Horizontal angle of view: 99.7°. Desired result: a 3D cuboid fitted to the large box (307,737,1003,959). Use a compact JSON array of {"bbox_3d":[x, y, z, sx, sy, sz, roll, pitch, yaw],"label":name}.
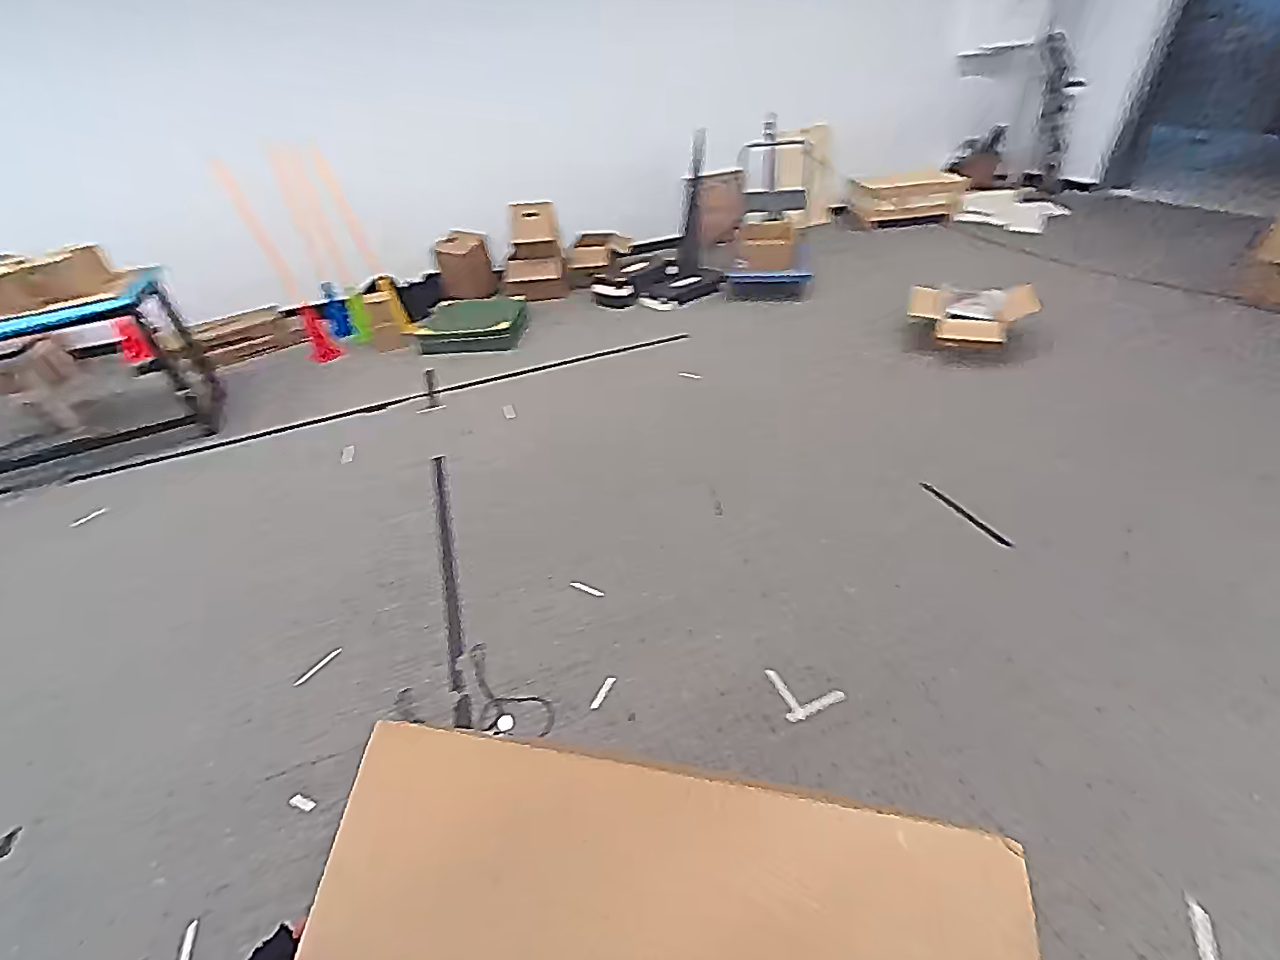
[{"bbox_3d":[0.005,0.397,0.412,0.408,0.320,0.320,4,64,11],"label":"large box"}]
